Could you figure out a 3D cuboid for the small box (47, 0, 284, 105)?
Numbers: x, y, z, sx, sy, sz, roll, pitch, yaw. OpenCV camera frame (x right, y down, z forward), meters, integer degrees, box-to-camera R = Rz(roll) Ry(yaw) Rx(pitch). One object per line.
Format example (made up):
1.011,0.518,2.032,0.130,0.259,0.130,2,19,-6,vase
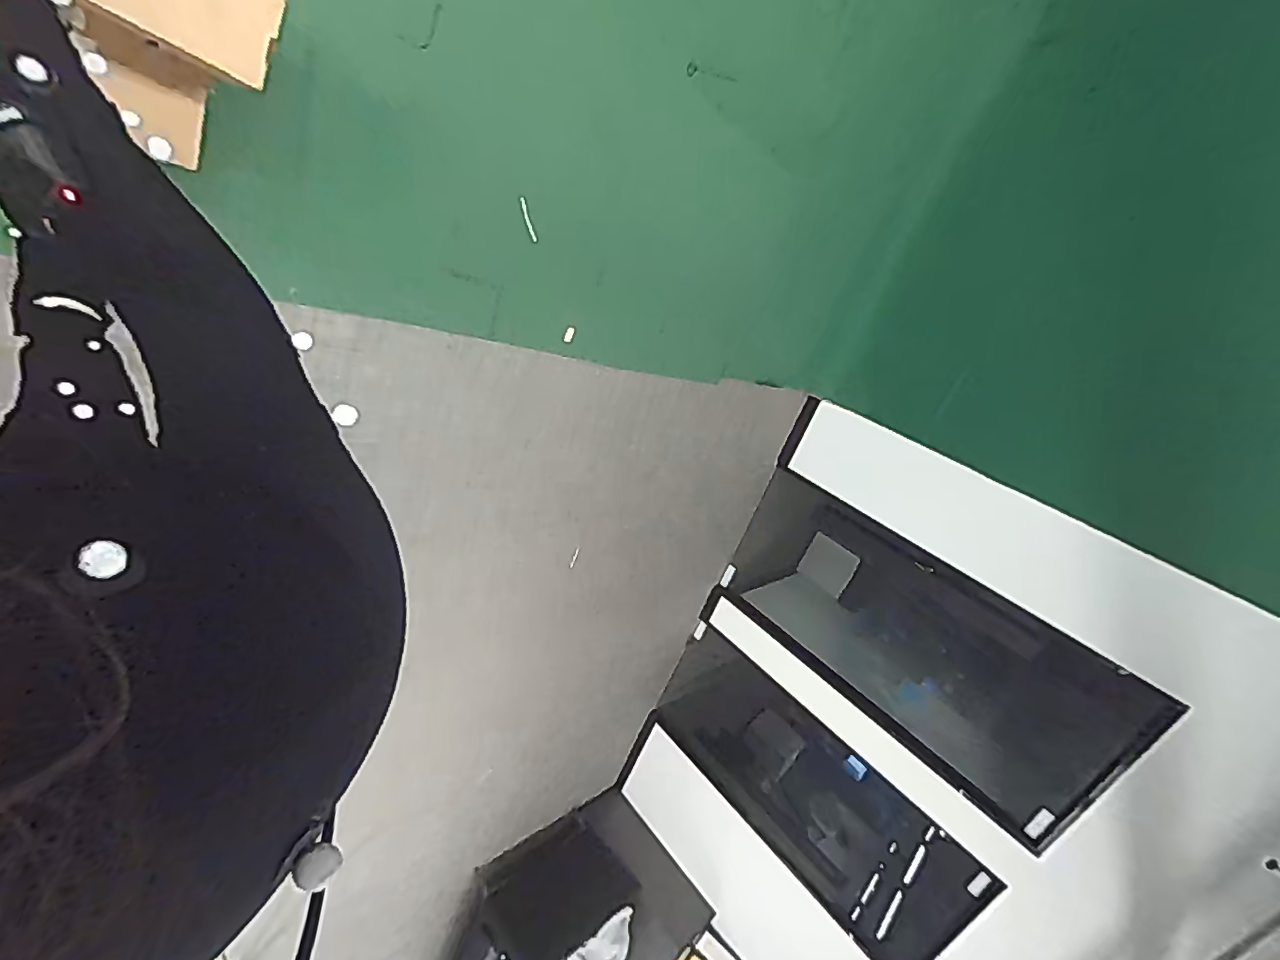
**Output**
-0.526,-0.560,0.601,0.179,0.176,0.168,6,113,-51,small box
